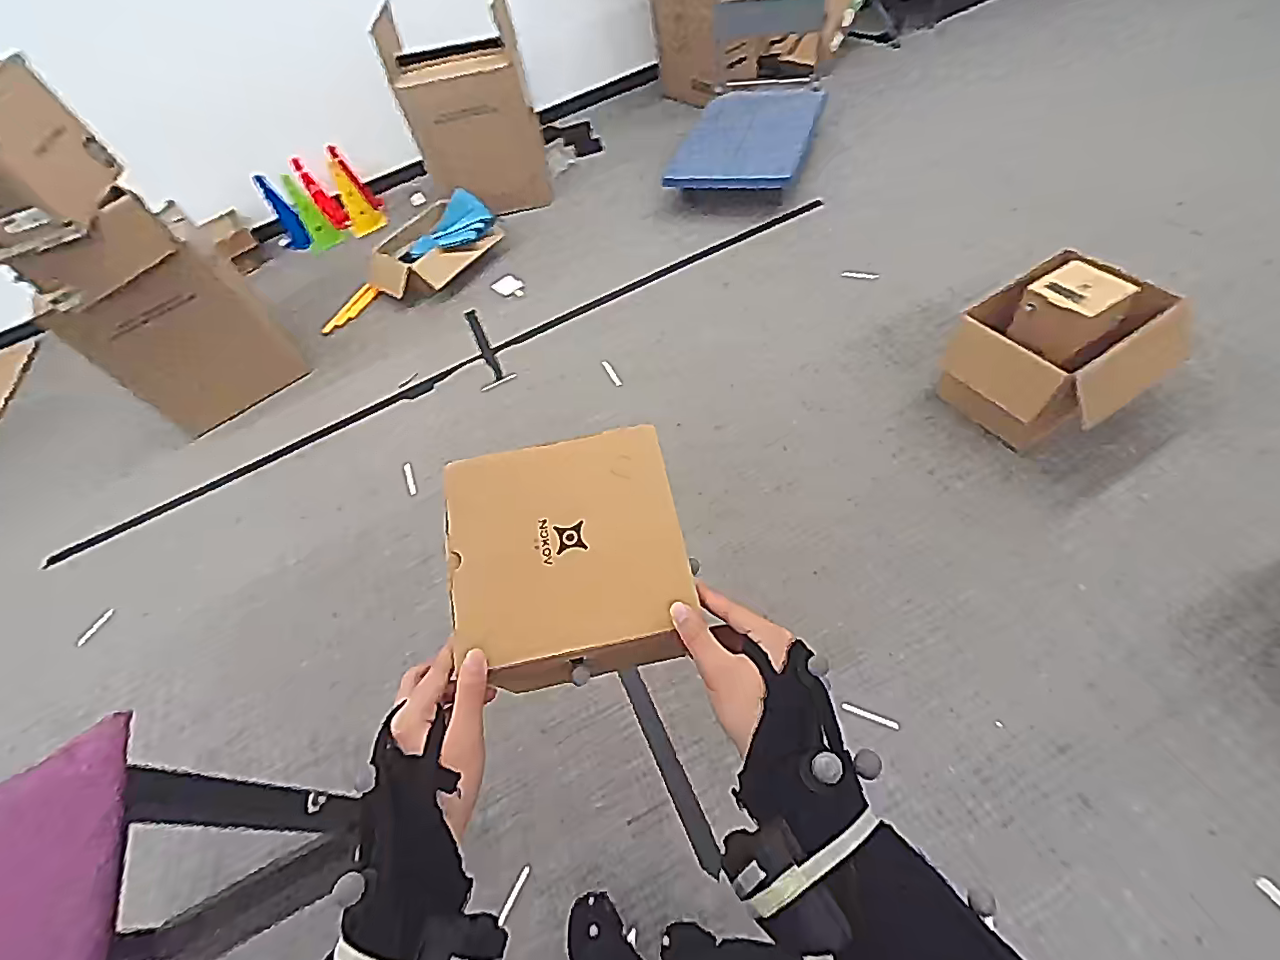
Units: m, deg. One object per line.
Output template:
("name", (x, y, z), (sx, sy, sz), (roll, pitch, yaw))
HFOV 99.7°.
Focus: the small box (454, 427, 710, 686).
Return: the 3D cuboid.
("small box", (-0.048, 0.077, 0.480), (0.179, 0.176, 0.168), (-11, 65, -3))
